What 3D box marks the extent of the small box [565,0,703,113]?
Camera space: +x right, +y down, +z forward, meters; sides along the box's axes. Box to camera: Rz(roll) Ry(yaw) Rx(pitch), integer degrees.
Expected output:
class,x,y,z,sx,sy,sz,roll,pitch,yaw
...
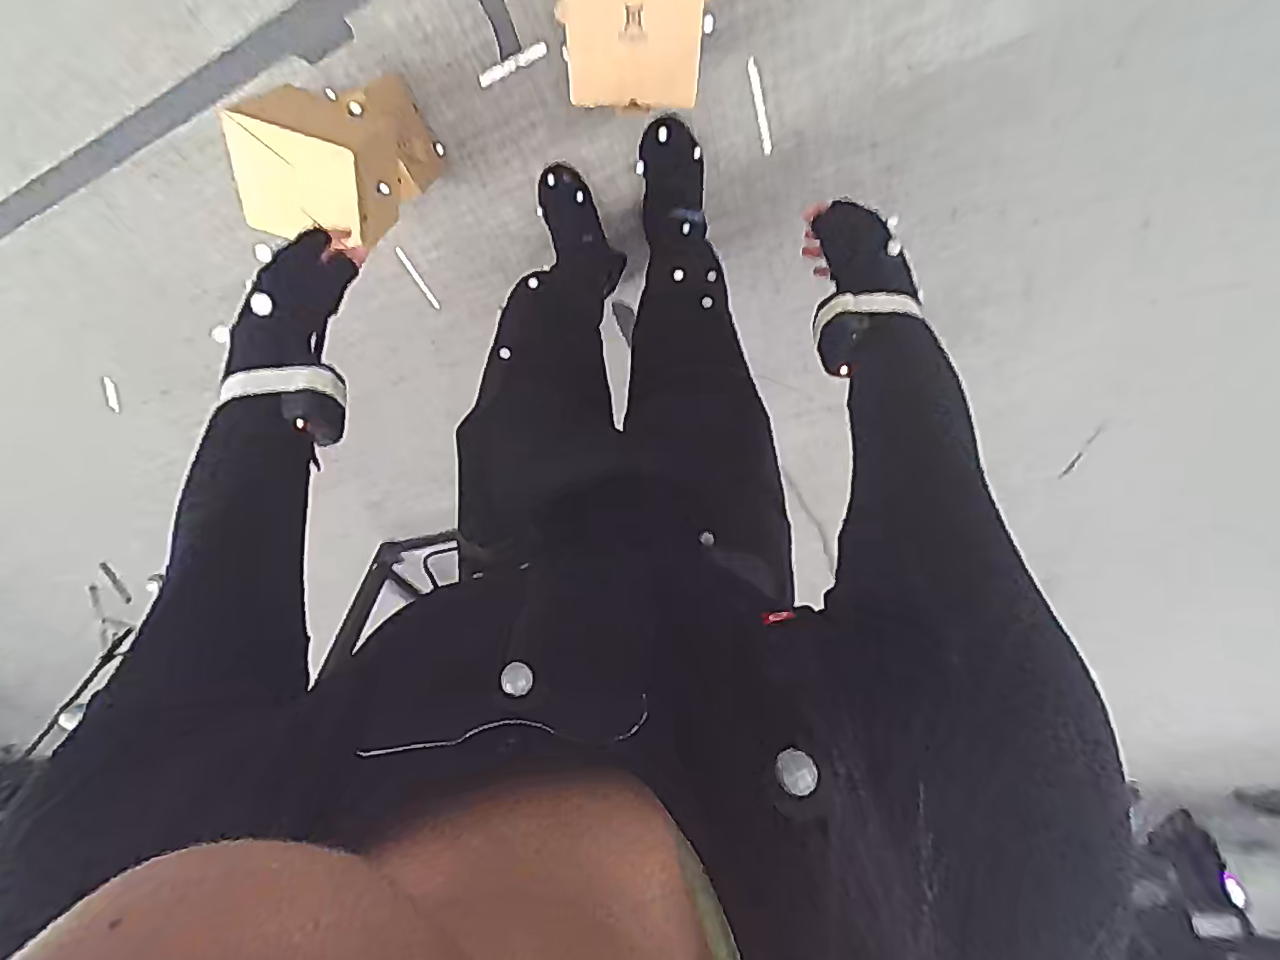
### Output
class,x,y,z,sx,sy,sz,roll,pitch,yaw
small box,-0.005,-0.608,0.707,0.168,0.176,0.179,2,136,-1

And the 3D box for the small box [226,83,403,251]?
class,x,y,z,sx,sy,sz,roll,pitch,yaw
small box,-0.501,-0.494,0.861,0.179,0.176,0.168,14,135,-9

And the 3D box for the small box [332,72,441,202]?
class,x,y,z,sx,sy,sz,roll,pitch,yaw
small box,-0.487,-0.607,0.984,0.179,0.176,0.168,-10,134,17
